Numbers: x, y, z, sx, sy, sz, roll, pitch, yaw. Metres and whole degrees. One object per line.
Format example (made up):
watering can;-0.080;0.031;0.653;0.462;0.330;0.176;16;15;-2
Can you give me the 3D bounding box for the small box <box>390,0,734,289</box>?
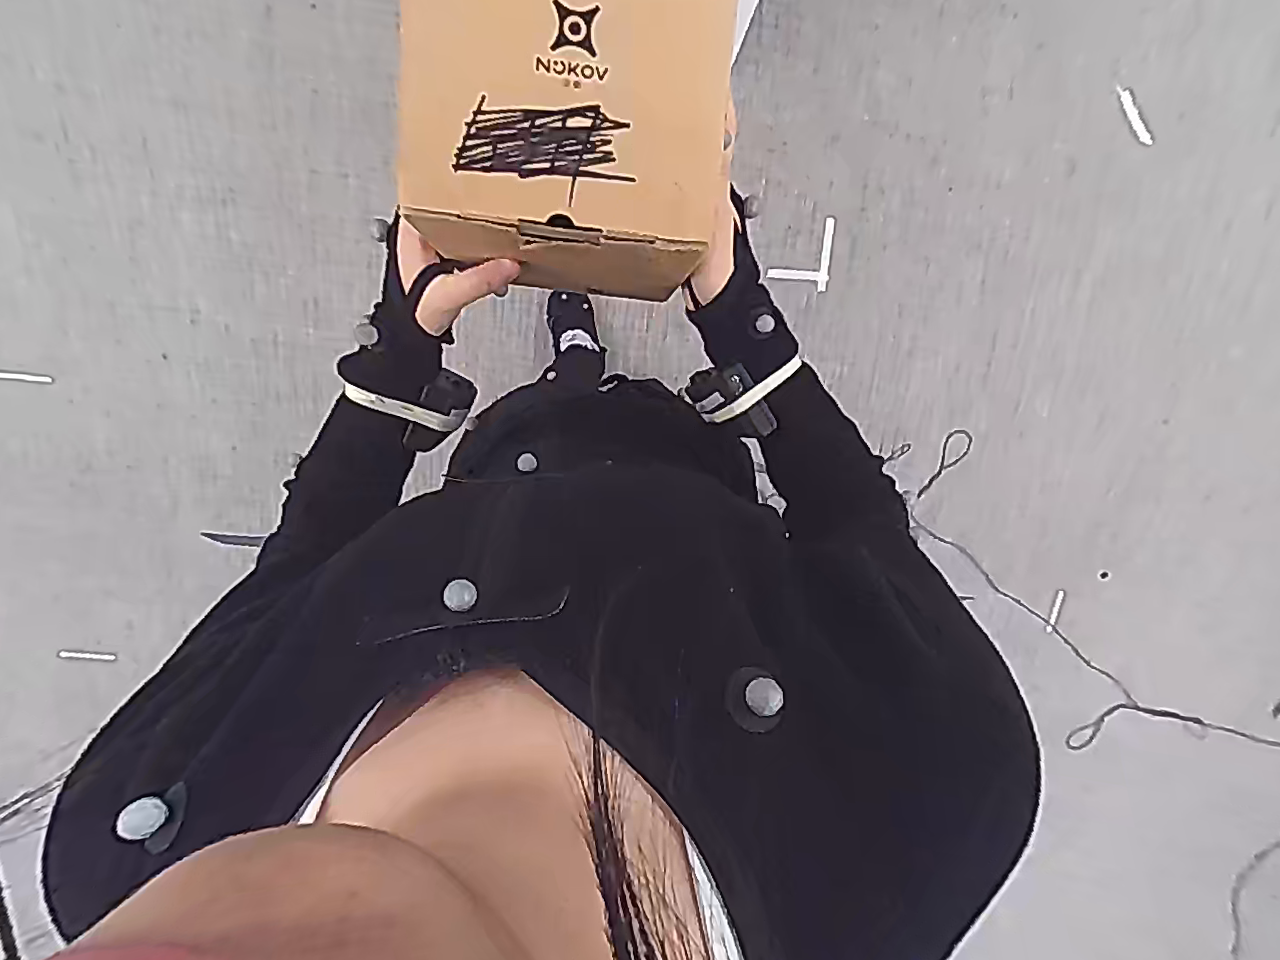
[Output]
small box;-0.043;-0.229;0.343;0.168;0.176;0.179;4;98;-6
